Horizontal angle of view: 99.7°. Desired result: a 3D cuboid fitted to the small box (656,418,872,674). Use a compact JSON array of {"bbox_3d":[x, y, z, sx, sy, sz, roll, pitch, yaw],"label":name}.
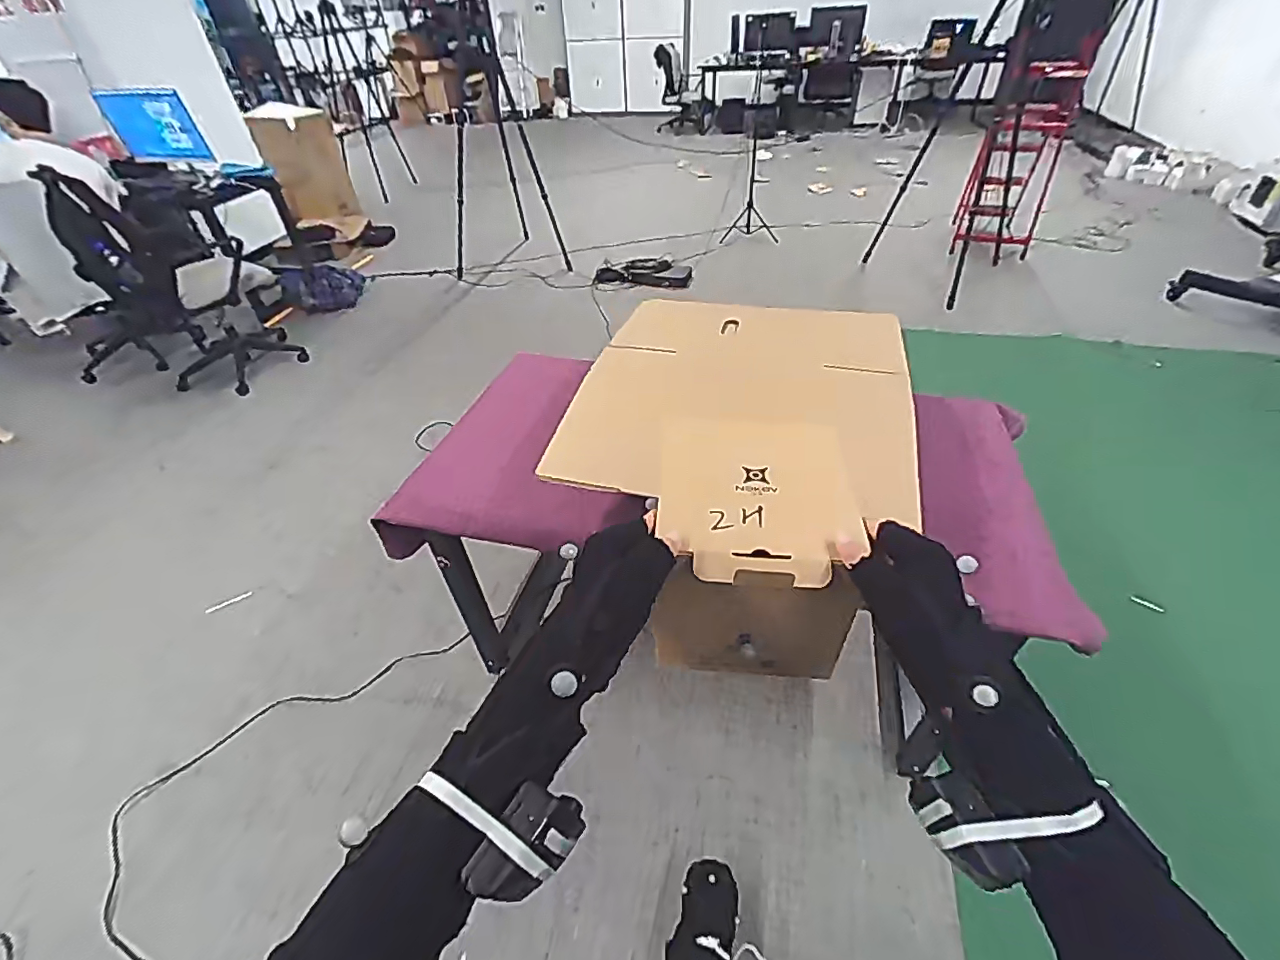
[{"bbox_3d":[0.104,0.060,0.526,0.168,0.176,0.179,3,41,6],"label":"small box"}]
